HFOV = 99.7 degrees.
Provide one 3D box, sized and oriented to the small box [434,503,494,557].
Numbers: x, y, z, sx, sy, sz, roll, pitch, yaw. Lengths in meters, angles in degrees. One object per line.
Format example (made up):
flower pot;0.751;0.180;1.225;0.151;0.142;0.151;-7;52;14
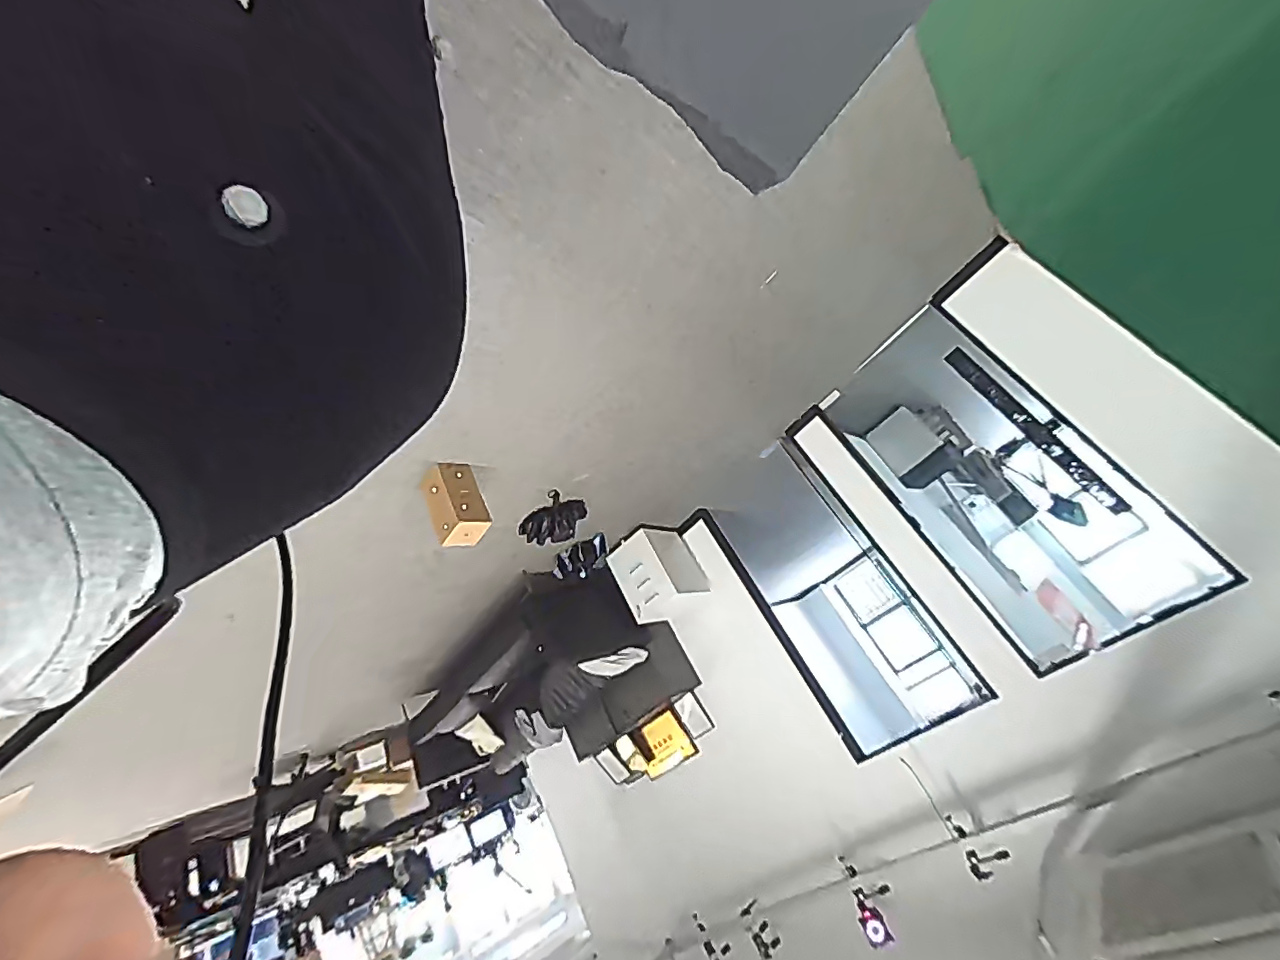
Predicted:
small box;-0.769;0.214;2.347;0.168;0.176;0.179;5;137;-49

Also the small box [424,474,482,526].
small box;-0.845;0.090;2.420;0.168;0.176;0.179;3;137;-49
